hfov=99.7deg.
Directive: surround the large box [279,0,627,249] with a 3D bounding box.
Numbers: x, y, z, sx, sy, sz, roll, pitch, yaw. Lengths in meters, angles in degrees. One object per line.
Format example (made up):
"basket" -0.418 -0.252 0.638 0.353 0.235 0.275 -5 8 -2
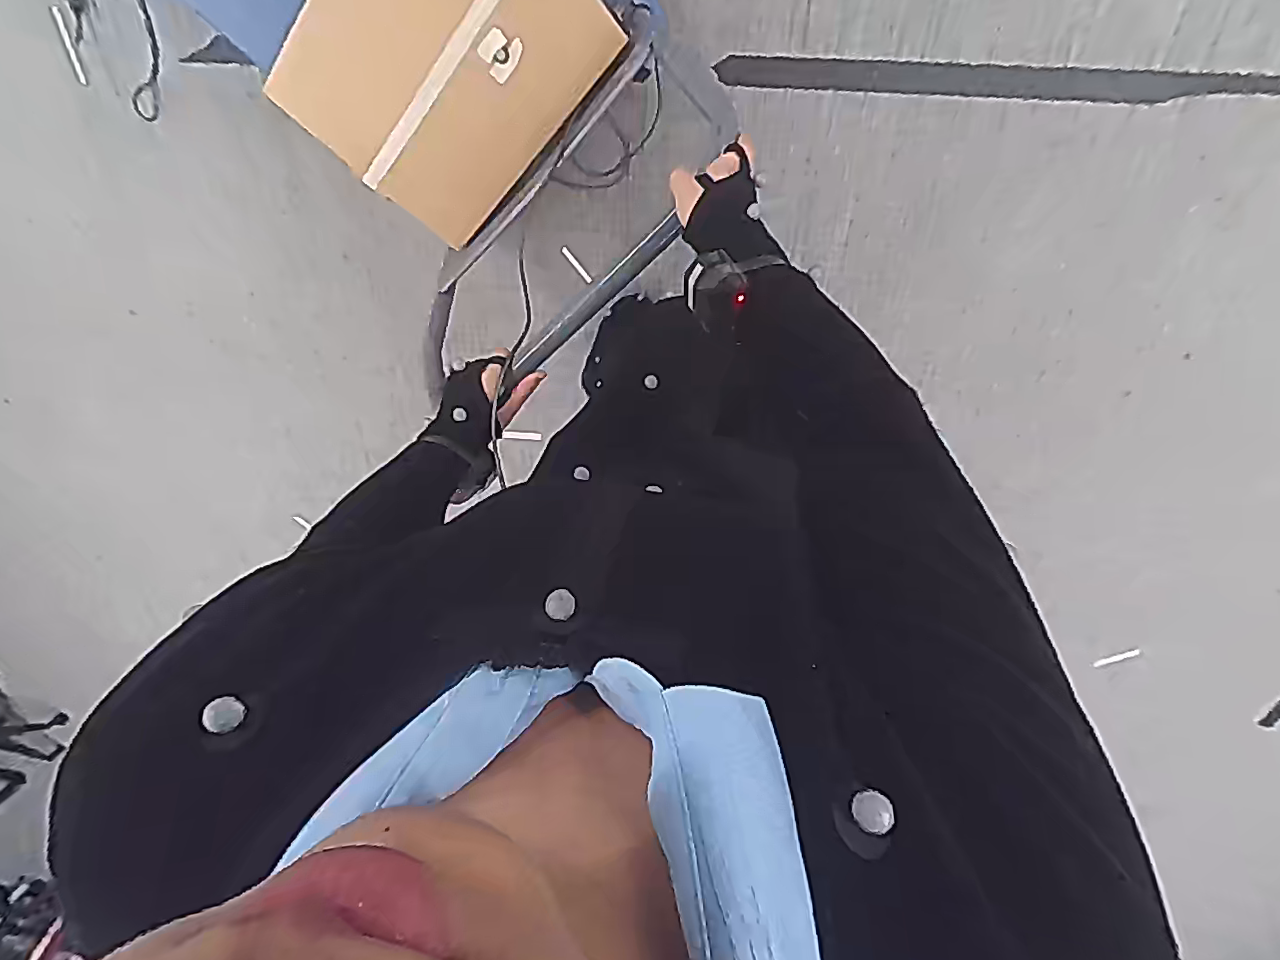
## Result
"large box" -0.273 -0.668 0.854 0.408 0.320 0.320 -38 127 25
